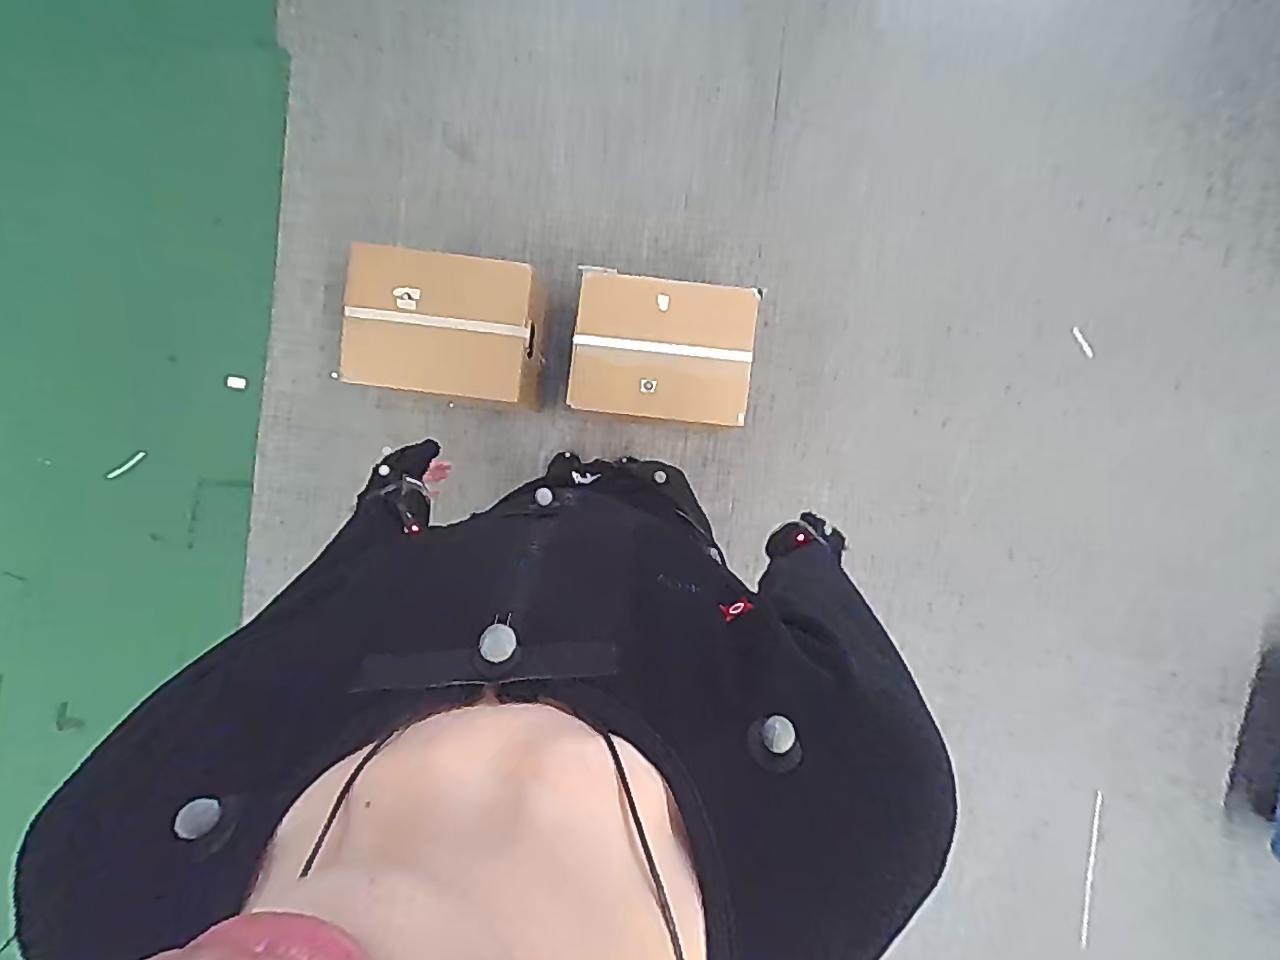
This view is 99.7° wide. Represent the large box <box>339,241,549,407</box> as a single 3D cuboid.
[{"bbox_3d":[-0.458,-0.362,1.346,0.408,0.320,0.320,7,91,-1],"label":"large box"}]
